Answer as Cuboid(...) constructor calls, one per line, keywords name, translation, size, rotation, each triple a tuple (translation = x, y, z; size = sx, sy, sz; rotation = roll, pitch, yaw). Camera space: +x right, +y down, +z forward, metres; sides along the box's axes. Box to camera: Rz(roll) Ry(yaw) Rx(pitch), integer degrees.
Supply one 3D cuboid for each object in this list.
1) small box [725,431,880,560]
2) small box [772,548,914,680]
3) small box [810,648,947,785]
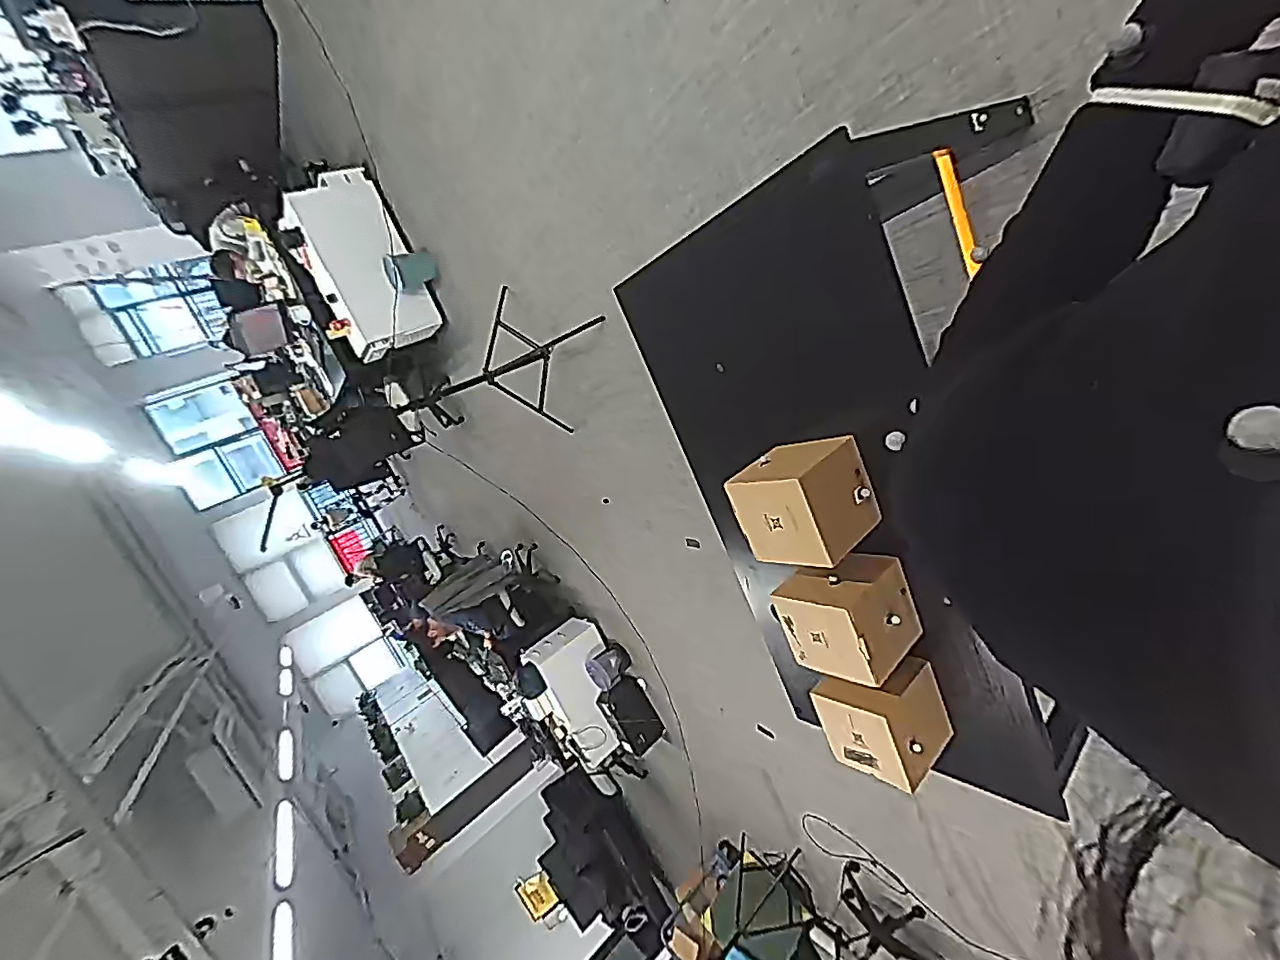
Cuboid(name="small box", translation=(0.292, 0.026, 0.970), size=(0.179, 0.176, 0.168), rotation=(-7, 112, 57))
Cuboid(name="small box", translation=(0.388, 0.239, 1.017), size=(0.179, 0.176, 0.168), rotation=(-5, 111, 57))
Cuboid(name="small box", translation=(0.477, 0.447, 1.073), size=(0.168, 0.176, 0.179), rotation=(-5, 112, 56))
